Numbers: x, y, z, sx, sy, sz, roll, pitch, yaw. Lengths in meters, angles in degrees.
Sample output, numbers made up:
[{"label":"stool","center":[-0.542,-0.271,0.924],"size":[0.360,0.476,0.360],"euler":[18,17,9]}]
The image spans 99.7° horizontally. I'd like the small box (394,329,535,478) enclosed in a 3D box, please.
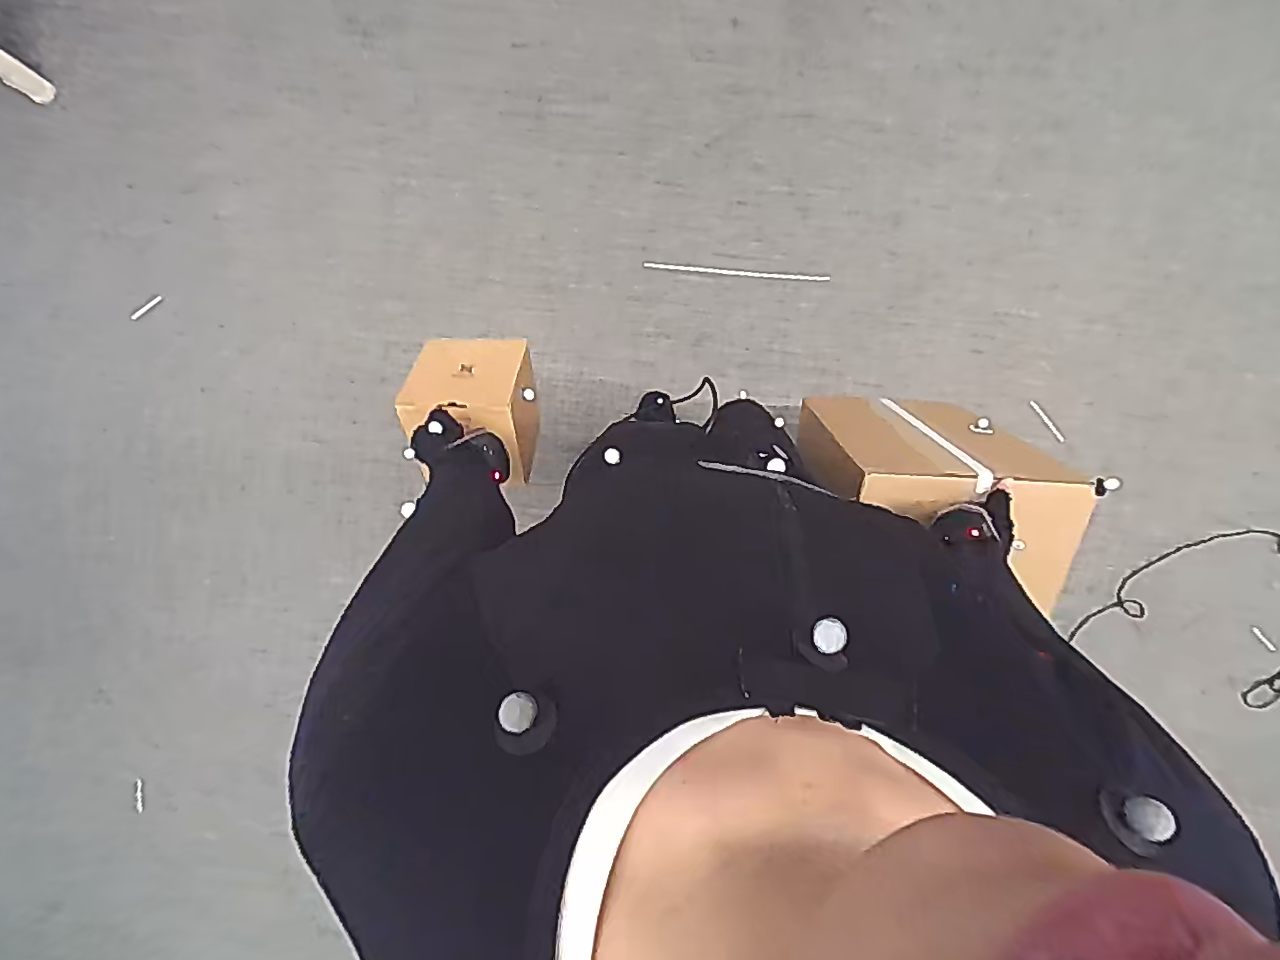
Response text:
[{"label":"small box","center":[-0.271,-0.125,0.883],"size":[0.168,0.179,0.176],"euler":[1,138,0]}]
